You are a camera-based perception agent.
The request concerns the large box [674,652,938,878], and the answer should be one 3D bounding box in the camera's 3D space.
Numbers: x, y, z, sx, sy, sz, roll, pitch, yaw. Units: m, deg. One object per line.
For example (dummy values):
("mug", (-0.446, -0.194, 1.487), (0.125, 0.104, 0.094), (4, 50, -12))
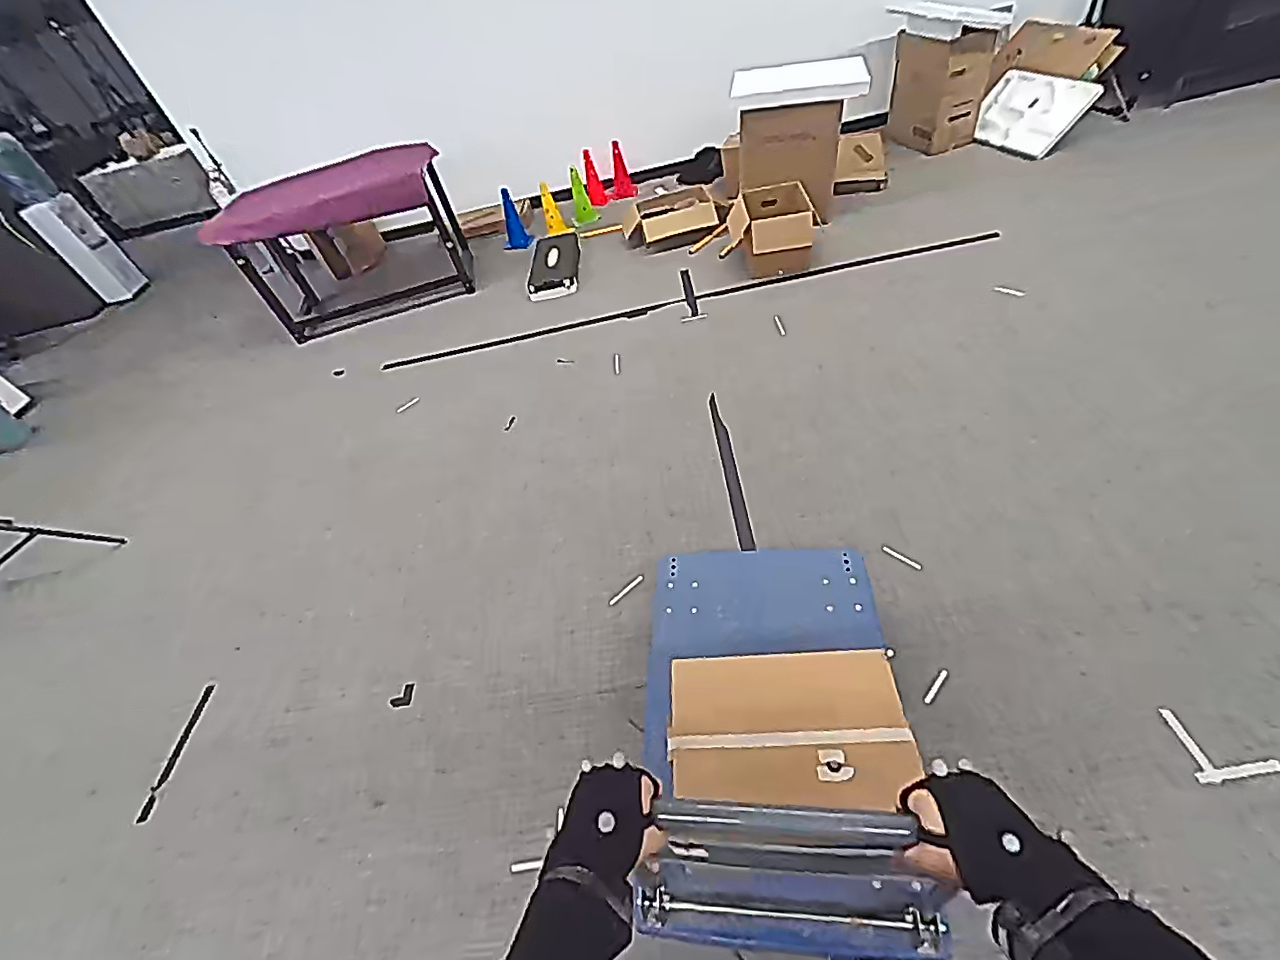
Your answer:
("large box", (0.284, 0.559, 1.051), (0.408, 0.320, 0.320), (-6, 47, 8))
